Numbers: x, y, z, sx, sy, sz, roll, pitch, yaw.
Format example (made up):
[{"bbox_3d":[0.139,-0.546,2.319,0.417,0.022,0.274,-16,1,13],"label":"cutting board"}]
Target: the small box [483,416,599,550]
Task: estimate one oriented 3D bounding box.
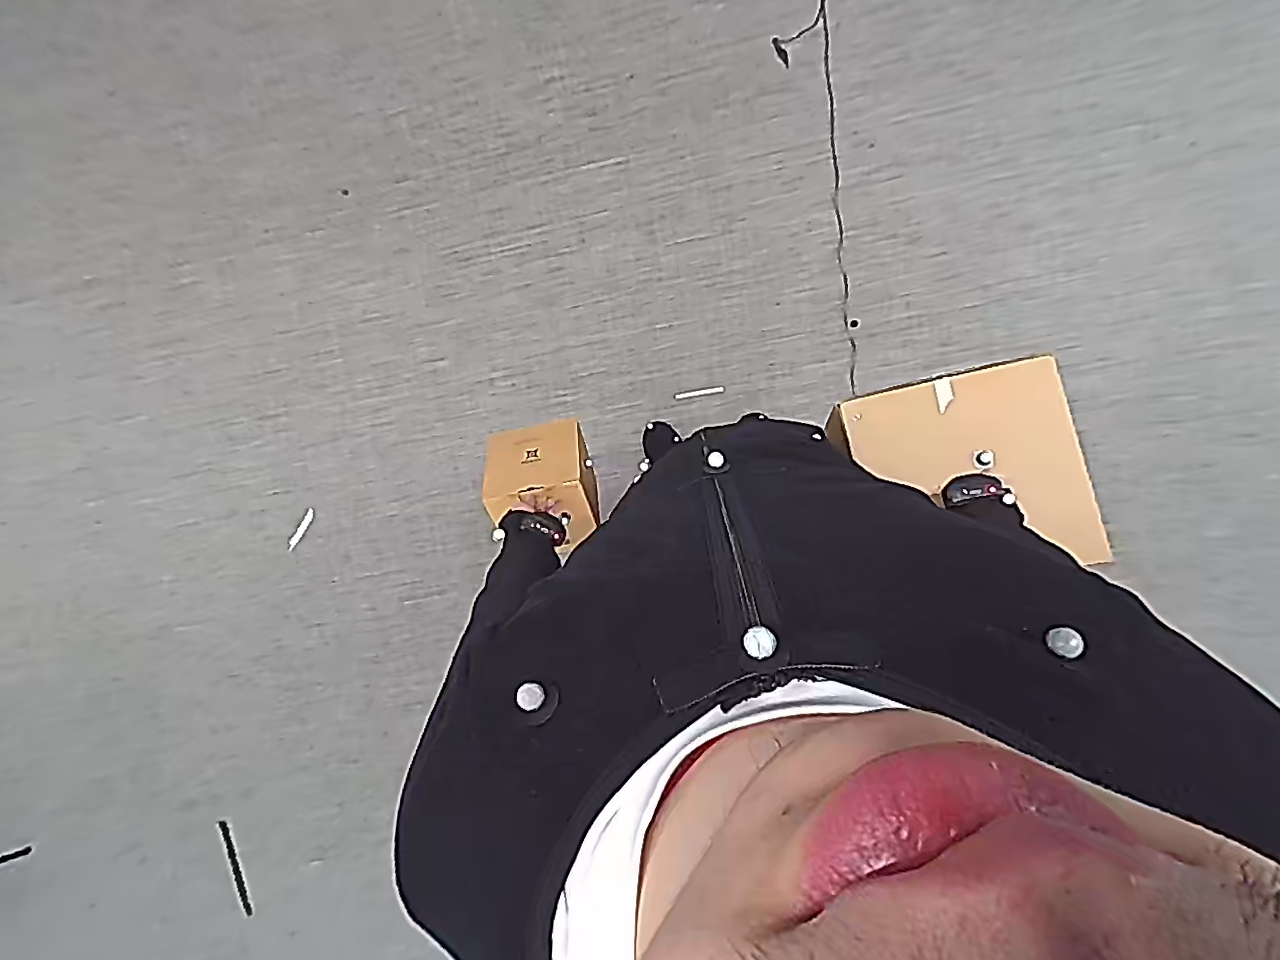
[{"bbox_3d":[-0.175,0.013,0.997,0.168,0.179,0.176,-11,133,2],"label":"small box"}]
